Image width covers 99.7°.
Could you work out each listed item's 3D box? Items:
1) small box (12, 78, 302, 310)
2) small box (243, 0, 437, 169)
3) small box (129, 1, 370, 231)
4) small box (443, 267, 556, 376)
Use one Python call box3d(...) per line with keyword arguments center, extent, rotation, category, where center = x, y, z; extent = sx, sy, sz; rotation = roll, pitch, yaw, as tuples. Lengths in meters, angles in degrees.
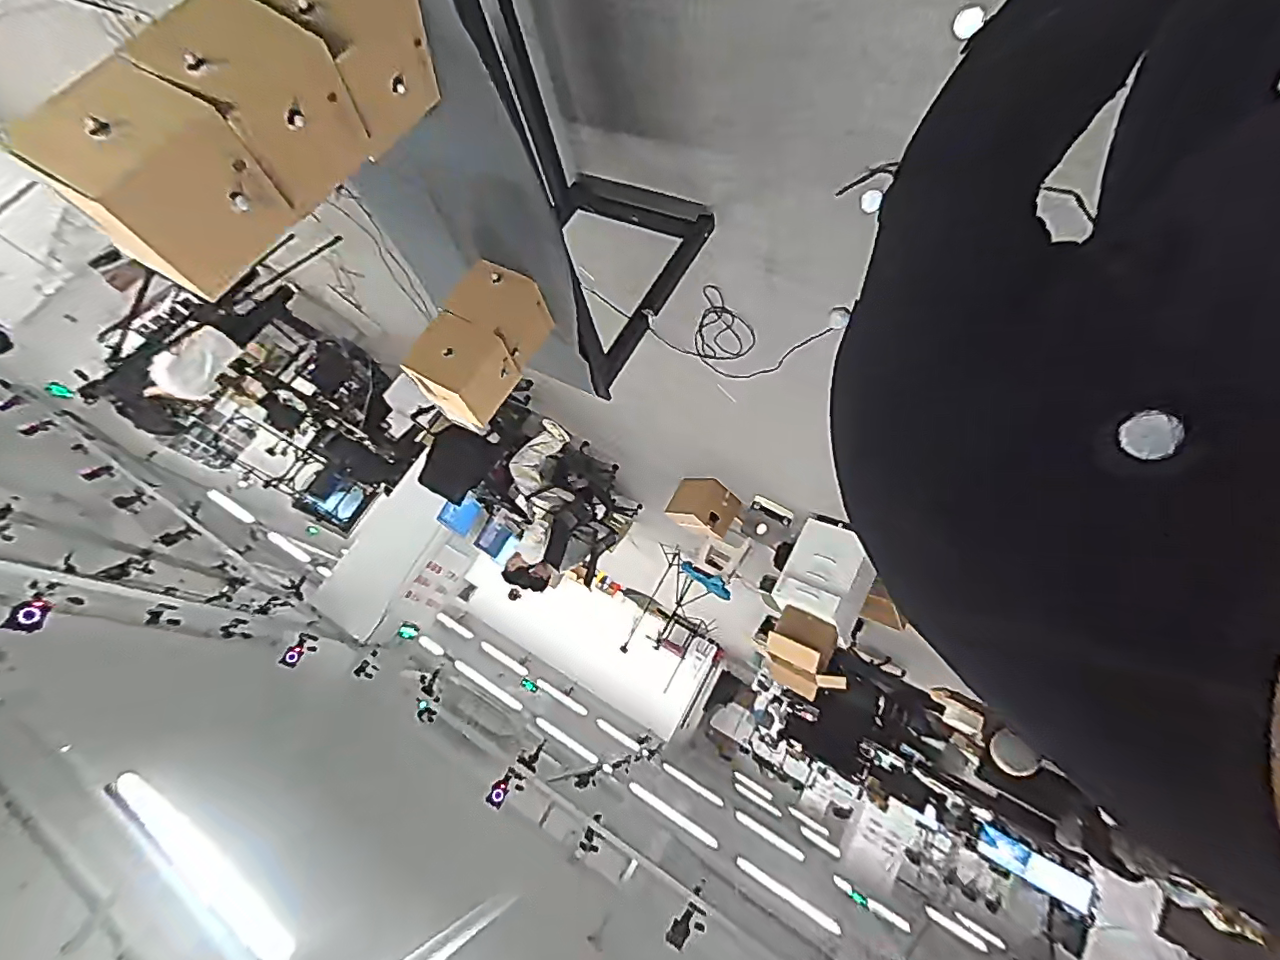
box3d(center=(-0.583, -0.358, 0.681), extent=(0.179, 0.176, 0.168), rotation=(29, 163, 10), category="small box")
box3d(center=(-0.425, -0.620, 0.799), extent=(0.179, 0.176, 0.168), rotation=(34, 164, 0), category="small box")
box3d(center=(-0.503, -0.491, 0.735), extent=(0.179, 0.176, 0.168), rotation=(32, 163, 5), category="small box")
box3d(center=(-0.337, -0.393, 1.329), extent=(0.179, 0.176, 0.168), rotation=(27, 163, 19), category="small box")
